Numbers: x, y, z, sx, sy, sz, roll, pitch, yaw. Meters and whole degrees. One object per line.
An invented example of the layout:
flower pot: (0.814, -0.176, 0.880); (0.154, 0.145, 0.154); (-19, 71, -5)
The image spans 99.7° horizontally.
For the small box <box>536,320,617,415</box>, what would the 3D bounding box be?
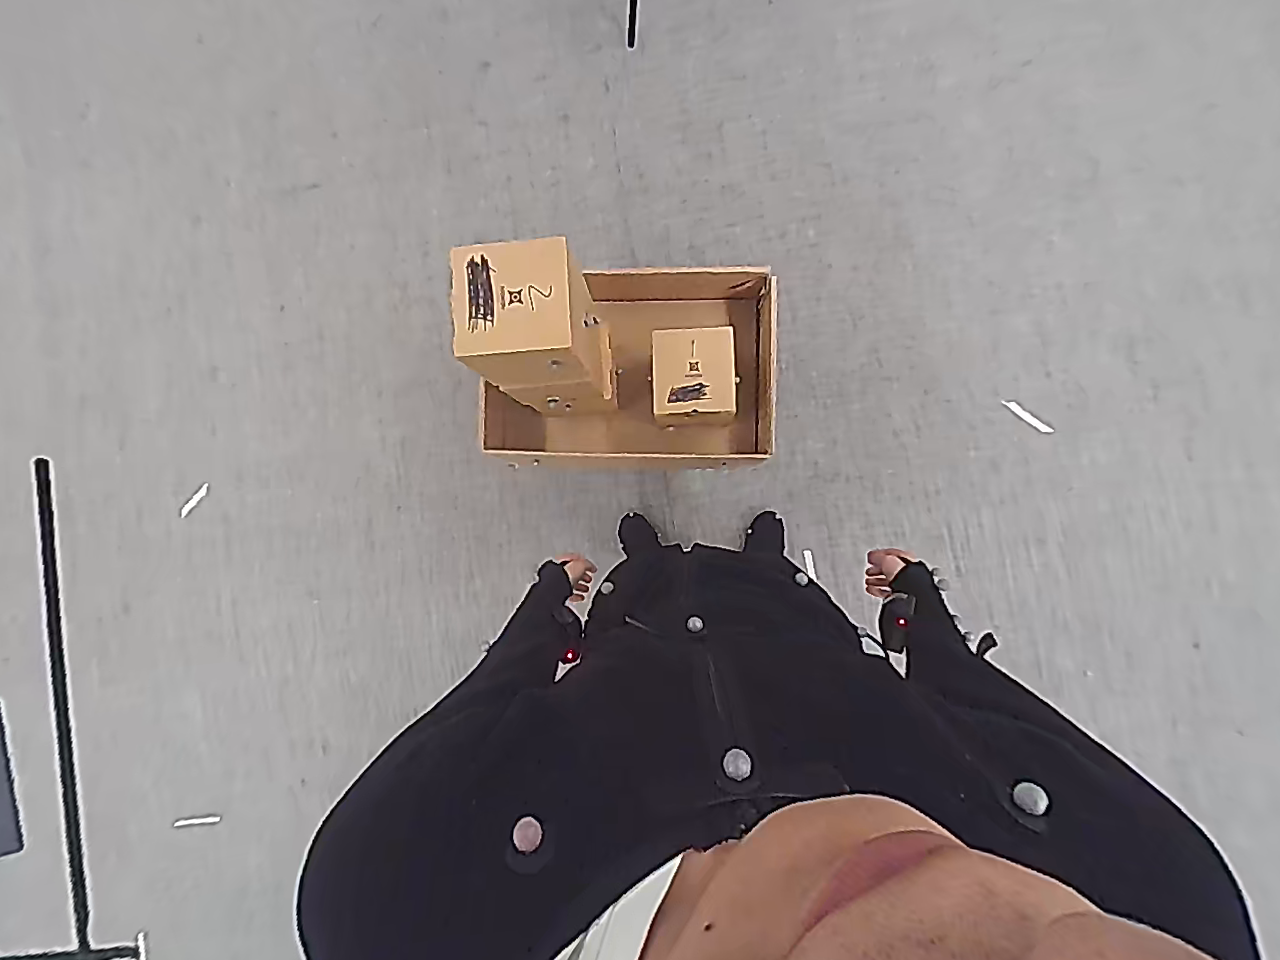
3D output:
small box: (-0.147, -0.238, 1.180); (0.179, 0.176, 0.168); (-2, 88, 3)

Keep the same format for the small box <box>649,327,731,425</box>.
small box: (0.107, -0.215, 1.162); (0.168, 0.176, 0.179); (-2, 86, 4)

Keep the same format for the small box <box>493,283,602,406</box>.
small box: (-0.168, -0.247, 1.018); (0.168, 0.176, 0.179); (-5, 87, 4)
